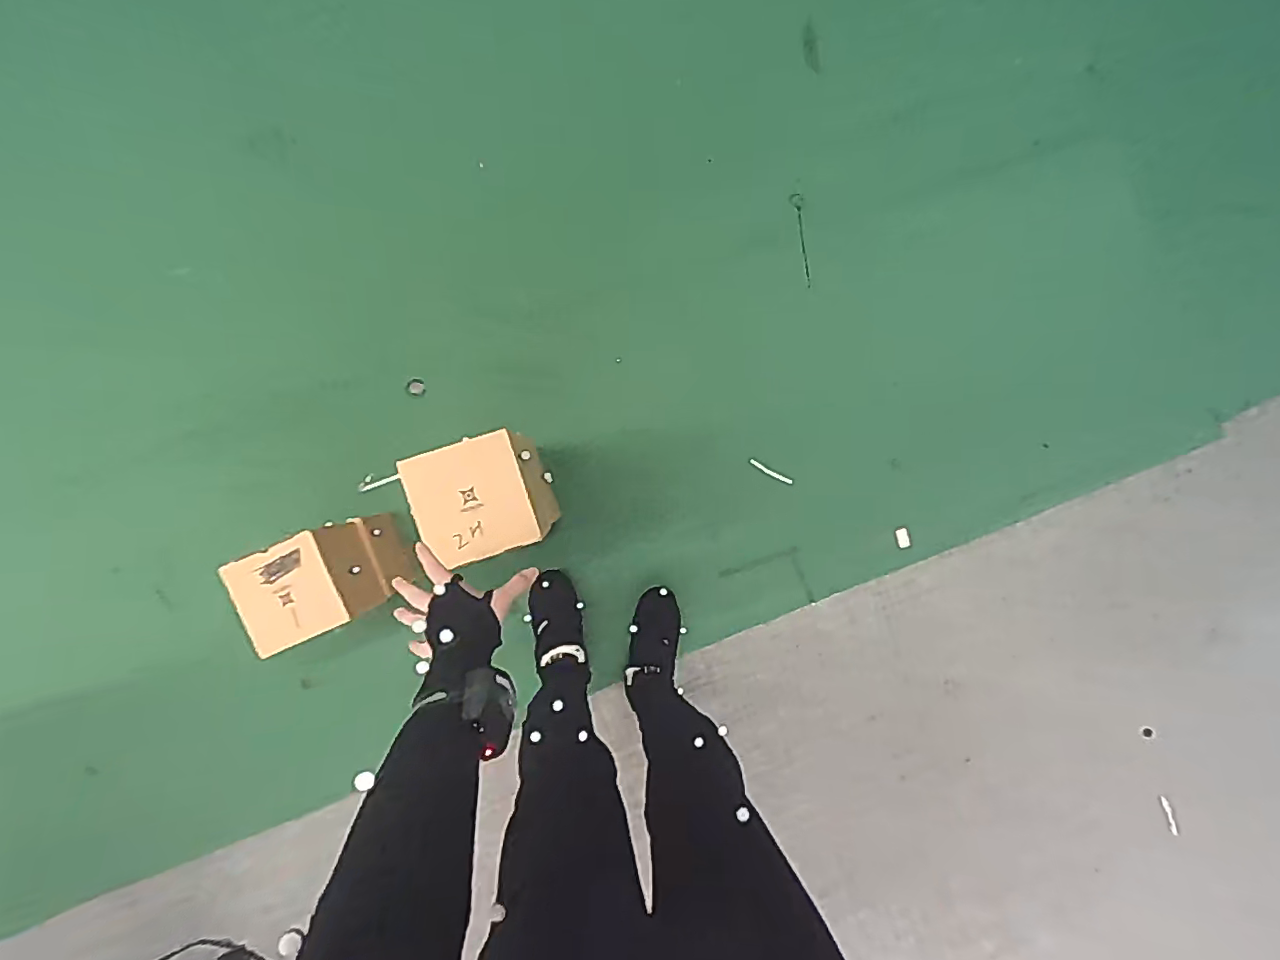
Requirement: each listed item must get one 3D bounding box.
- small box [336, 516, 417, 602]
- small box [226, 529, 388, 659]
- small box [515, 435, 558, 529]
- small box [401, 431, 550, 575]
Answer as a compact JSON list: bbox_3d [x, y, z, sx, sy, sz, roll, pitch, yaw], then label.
[{"bbox_3d":[-0.612,0.188,1.172,0.168,0.176,0.179,-20,91,-3],"label":"small box"},{"bbox_3d":[-0.606,0.199,1.008,0.168,0.176,0.179,-23,92,-3],"label":"small box"},{"bbox_3d":[-0.262,0.027,1.028,0.168,0.176,0.179,-18,92,-4],"label":"small box"},{"bbox_3d":[-0.251,0.033,0.864,0.168,0.176,0.179,-17,93,-4],"label":"small box"}]
